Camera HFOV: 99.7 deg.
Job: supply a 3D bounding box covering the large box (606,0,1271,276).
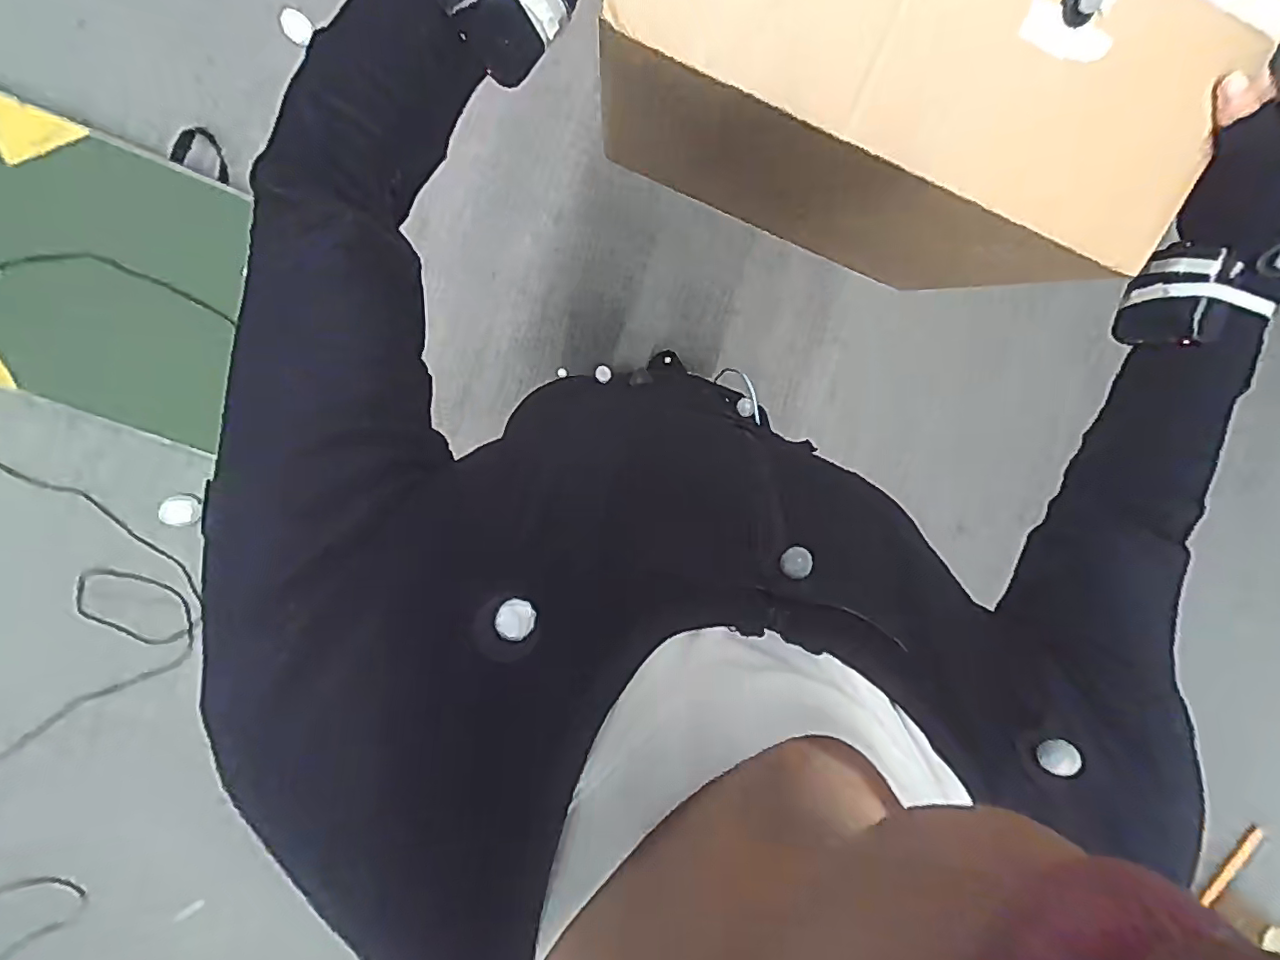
[{"bbox_3d":[0.205,-0.403,0.462,0.408,0.320,0.320,18,106,-10],"label":"large box"}]
